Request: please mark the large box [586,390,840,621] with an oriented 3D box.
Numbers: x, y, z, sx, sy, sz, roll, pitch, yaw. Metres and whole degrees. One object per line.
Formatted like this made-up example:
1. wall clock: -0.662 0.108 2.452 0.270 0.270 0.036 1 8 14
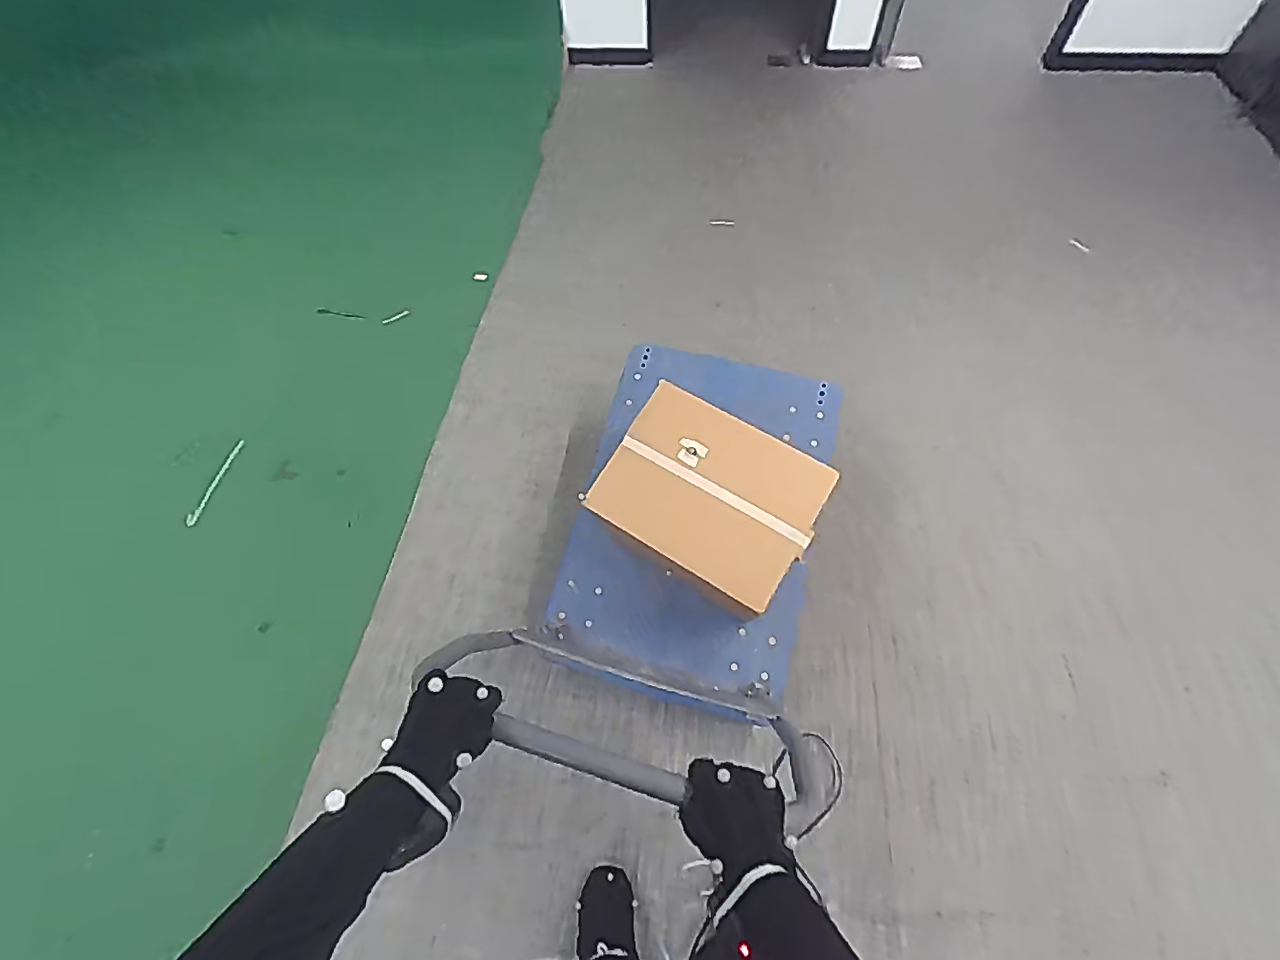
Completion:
1. large box: 0.158 0.072 1.185 0.408 0.320 0.320 30 79 16
